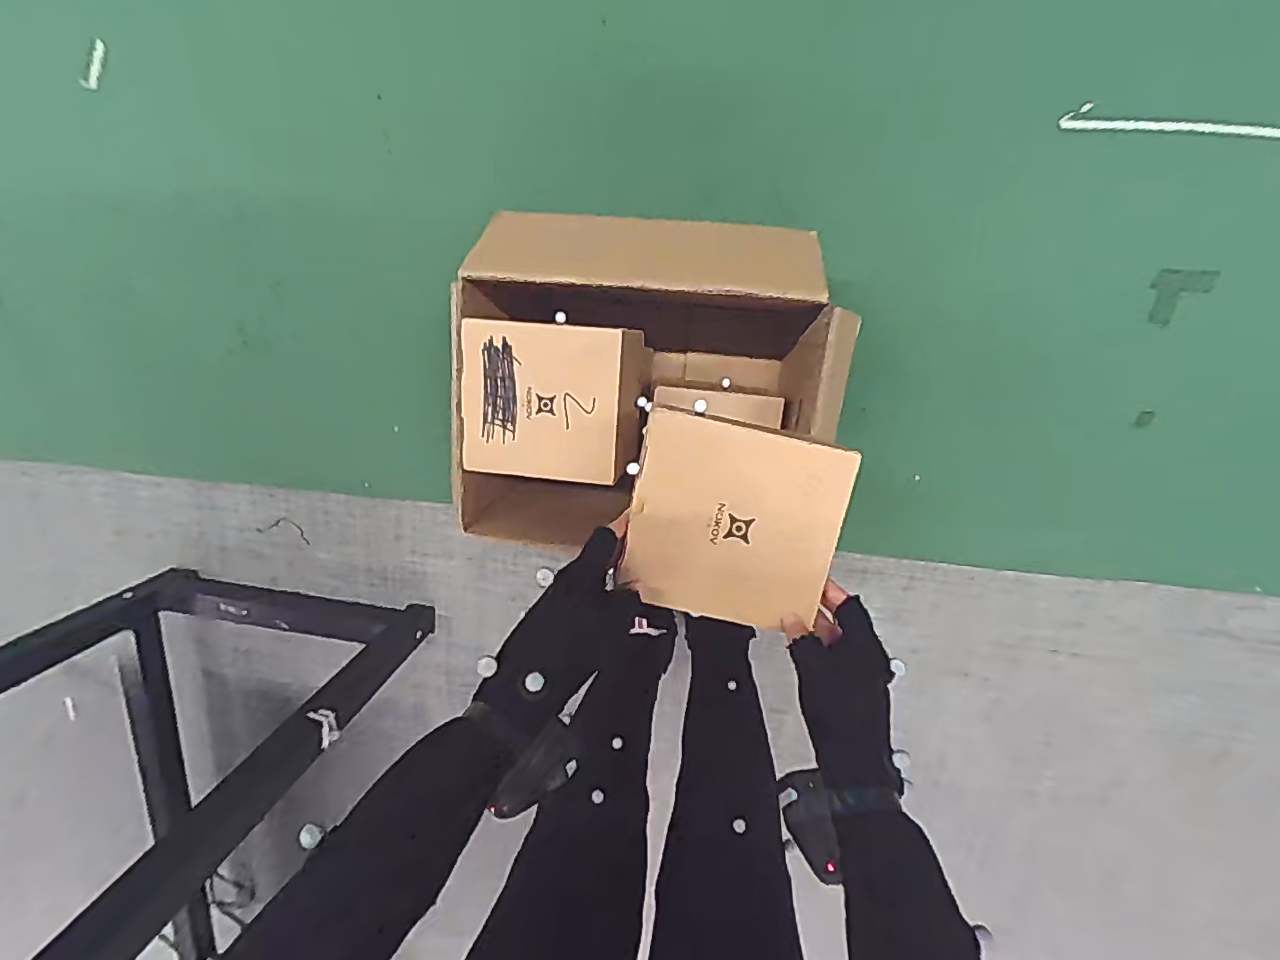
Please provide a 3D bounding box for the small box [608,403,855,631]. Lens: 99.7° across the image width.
[{"bbox_3d":[0.077,0.021,0.529,0.179,0.176,0.168,12,100,1],"label":"small box"}]
